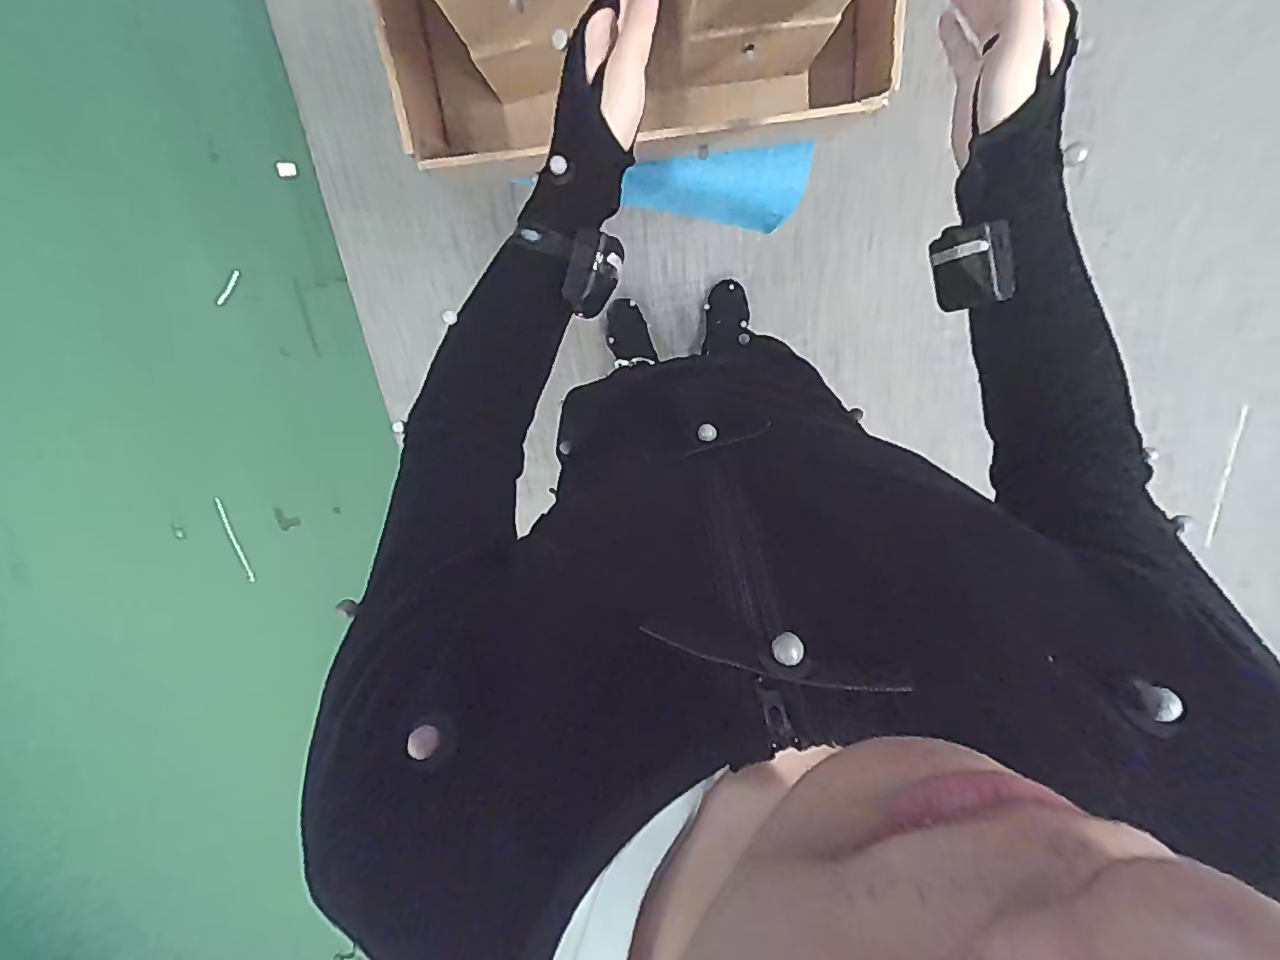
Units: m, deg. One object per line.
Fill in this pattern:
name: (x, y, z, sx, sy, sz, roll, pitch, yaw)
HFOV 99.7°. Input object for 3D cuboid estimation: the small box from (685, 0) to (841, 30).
small box: (0.127, -0.556, 0.502, 0.179, 0.176, 0.168, -4, 111, 4)

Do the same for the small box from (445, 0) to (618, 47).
small box: (-0.122, -0.552, 0.512, 0.179, 0.176, 0.168, -11, 110, 3)
